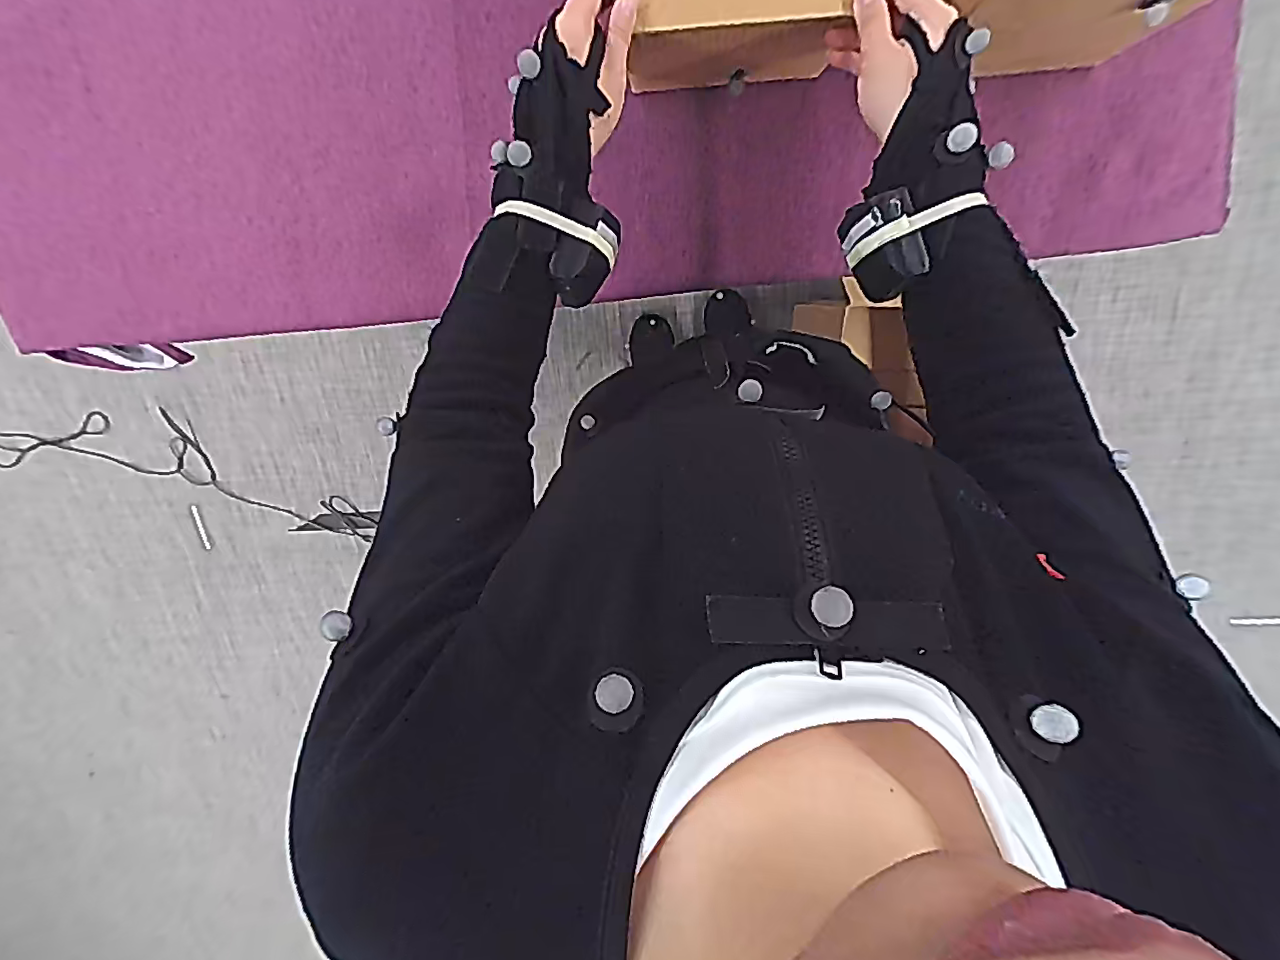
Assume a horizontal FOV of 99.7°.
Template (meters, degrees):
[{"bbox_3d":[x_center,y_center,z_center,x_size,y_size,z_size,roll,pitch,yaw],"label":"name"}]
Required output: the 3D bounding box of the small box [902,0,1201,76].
[{"bbox_3d":[0.319,-0.425,0.392,0.179,0.176,0.168,-2,107,4],"label":"small box"}]

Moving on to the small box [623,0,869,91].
[{"bbox_3d":[0.073,-0.419,0.404,0.179,0.176,0.168,-1,113,6],"label":"small box"}]
